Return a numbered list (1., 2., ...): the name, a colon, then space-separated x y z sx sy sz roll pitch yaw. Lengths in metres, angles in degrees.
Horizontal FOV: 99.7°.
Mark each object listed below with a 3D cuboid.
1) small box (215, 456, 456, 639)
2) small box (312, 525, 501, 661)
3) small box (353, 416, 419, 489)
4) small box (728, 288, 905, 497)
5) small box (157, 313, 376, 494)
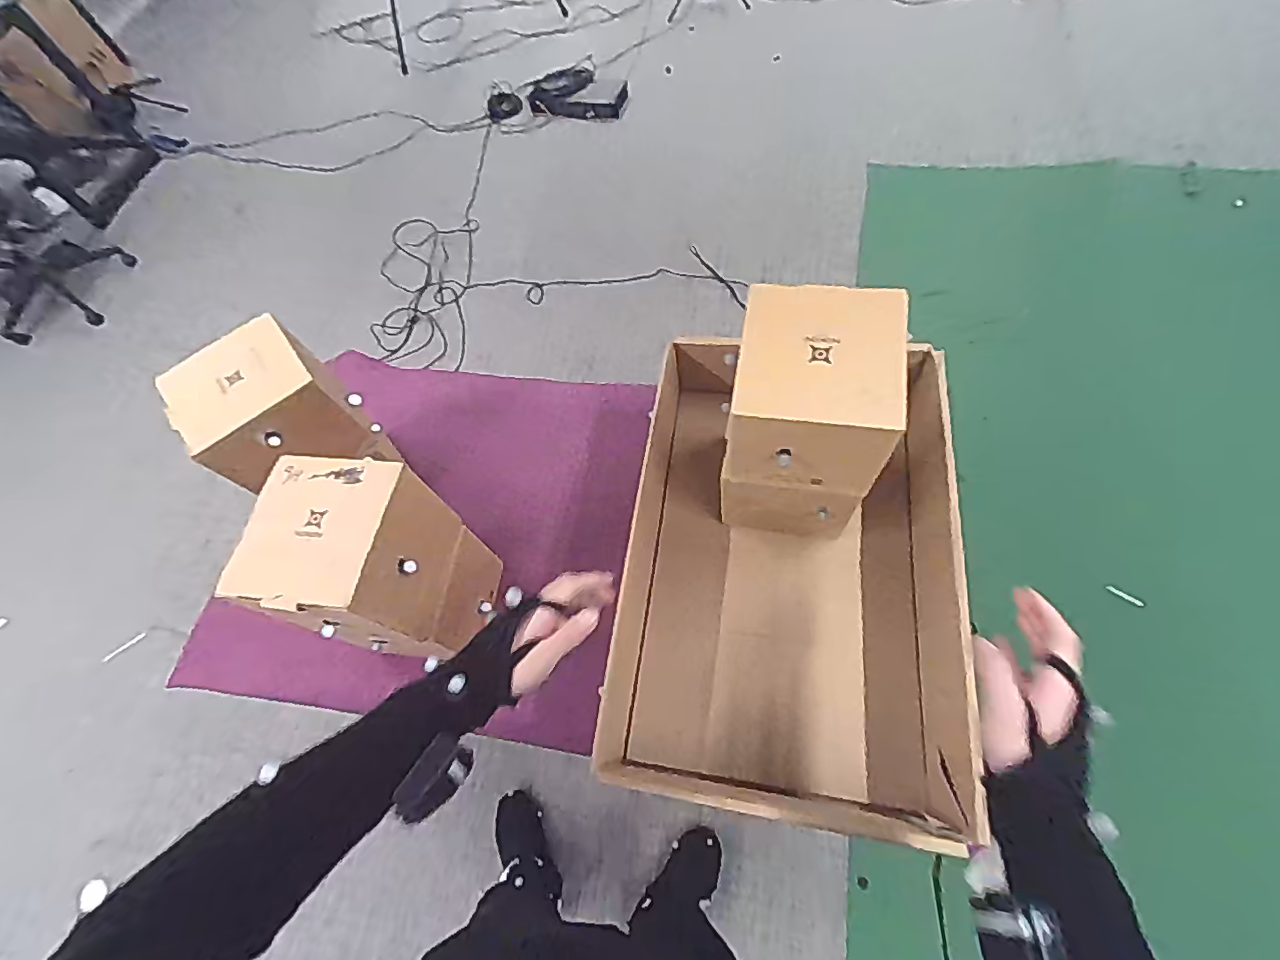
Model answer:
1. small box: -0.353 0.089 0.668 0.168 0.176 0.179 5 64 9
2. small box: -0.333 0.168 0.810 0.179 0.176 0.168 3 63 9
3. small box: -0.517 -0.021 0.930 0.168 0.176 0.179 -37 65 -12
4. small box: 0.197 -0.095 0.629 0.168 0.176 0.179 7 66 12
5. small box: -0.529 -0.096 0.786 0.179 0.176 0.168 -37 67 -11
